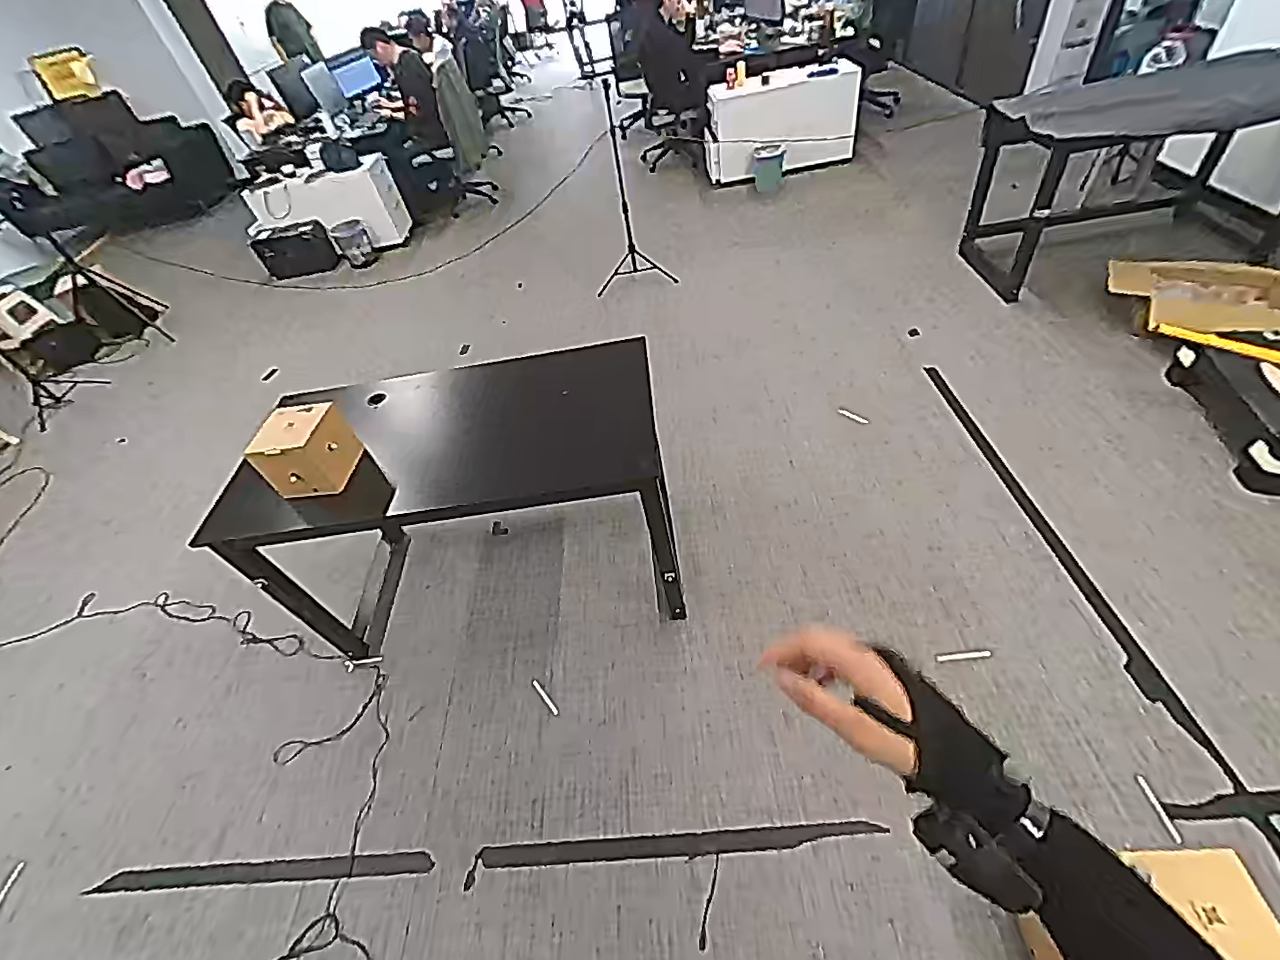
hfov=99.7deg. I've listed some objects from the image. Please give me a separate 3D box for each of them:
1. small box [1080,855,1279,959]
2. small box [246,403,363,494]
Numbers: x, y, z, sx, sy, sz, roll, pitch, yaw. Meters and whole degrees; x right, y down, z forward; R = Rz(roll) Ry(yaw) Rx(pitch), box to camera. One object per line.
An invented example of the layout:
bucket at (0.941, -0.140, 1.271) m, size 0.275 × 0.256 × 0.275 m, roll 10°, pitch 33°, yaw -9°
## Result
small box at (0.864, 0.706, 0.858) m, size 0.179 × 0.176 × 0.168 m, roll -7°, pitch 47°, yaw 7°
small box at (-0.862, -0.075, 1.411) m, size 0.168 × 0.176 × 0.179 m, roll -5°, pitch 47°, yaw 7°
